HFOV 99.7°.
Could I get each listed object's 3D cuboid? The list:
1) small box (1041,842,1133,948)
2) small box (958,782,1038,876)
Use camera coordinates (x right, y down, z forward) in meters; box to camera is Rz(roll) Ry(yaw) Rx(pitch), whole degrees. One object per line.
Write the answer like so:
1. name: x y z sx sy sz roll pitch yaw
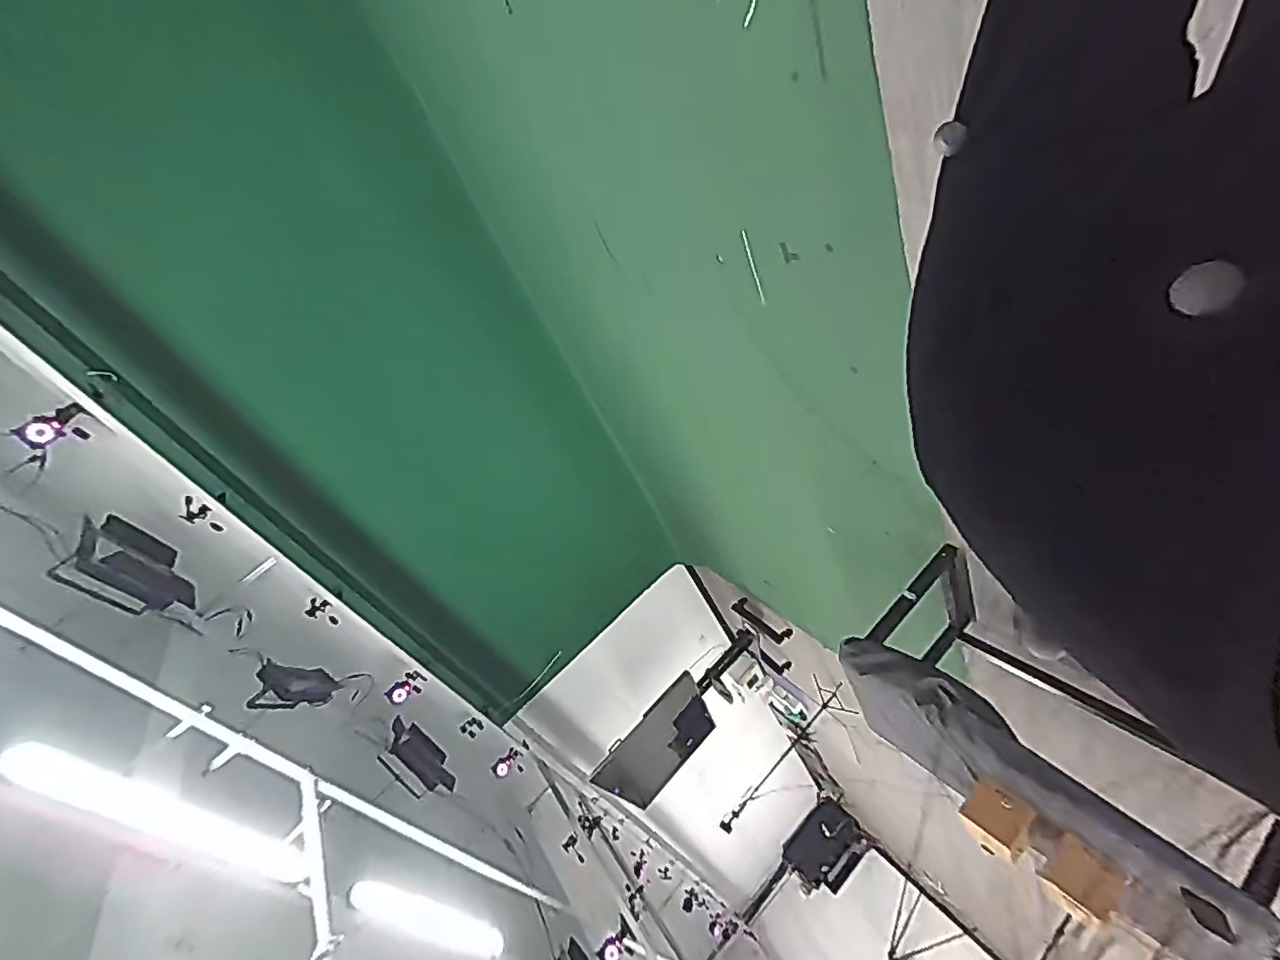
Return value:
1. small box: 1.339 1.236 1.622 0.168 0.176 0.179 27 154 53
2. small box: 1.209 1.169 1.819 0.168 0.176 0.179 24 149 54
